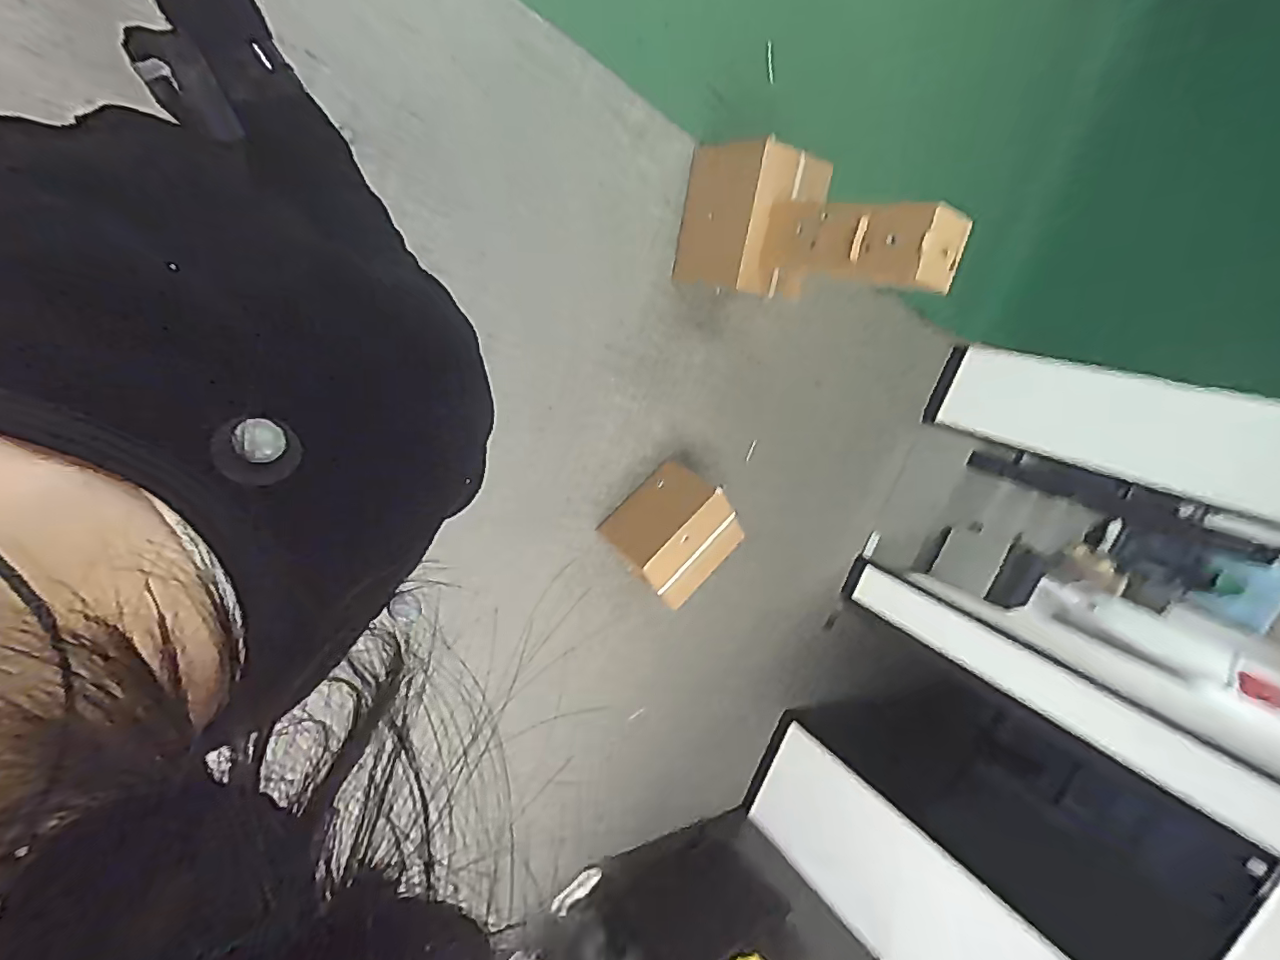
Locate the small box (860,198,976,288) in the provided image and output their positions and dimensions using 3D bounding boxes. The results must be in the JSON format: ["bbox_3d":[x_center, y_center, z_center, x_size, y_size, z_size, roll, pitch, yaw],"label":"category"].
[{"bbox_3d":[0.680,-0.582,1.337,0.179,0.176,0.168,-1,113,-36],"label":"small box"}]

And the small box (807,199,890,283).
[{"bbox_3d":[0.583,-0.640,1.456,0.179,0.176,0.168,0,112,-38],"label":"small box"}]

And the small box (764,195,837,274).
[{"bbox_3d":[0.487,-0.710,1.569,0.168,0.176,0.179,-2,113,-37],"label":"small box"}]

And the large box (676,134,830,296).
[{"bbox_3d":[0.349,-0.826,1.737,0.320,0.320,0.408,-7,115,-37],"label":"large box"}]
